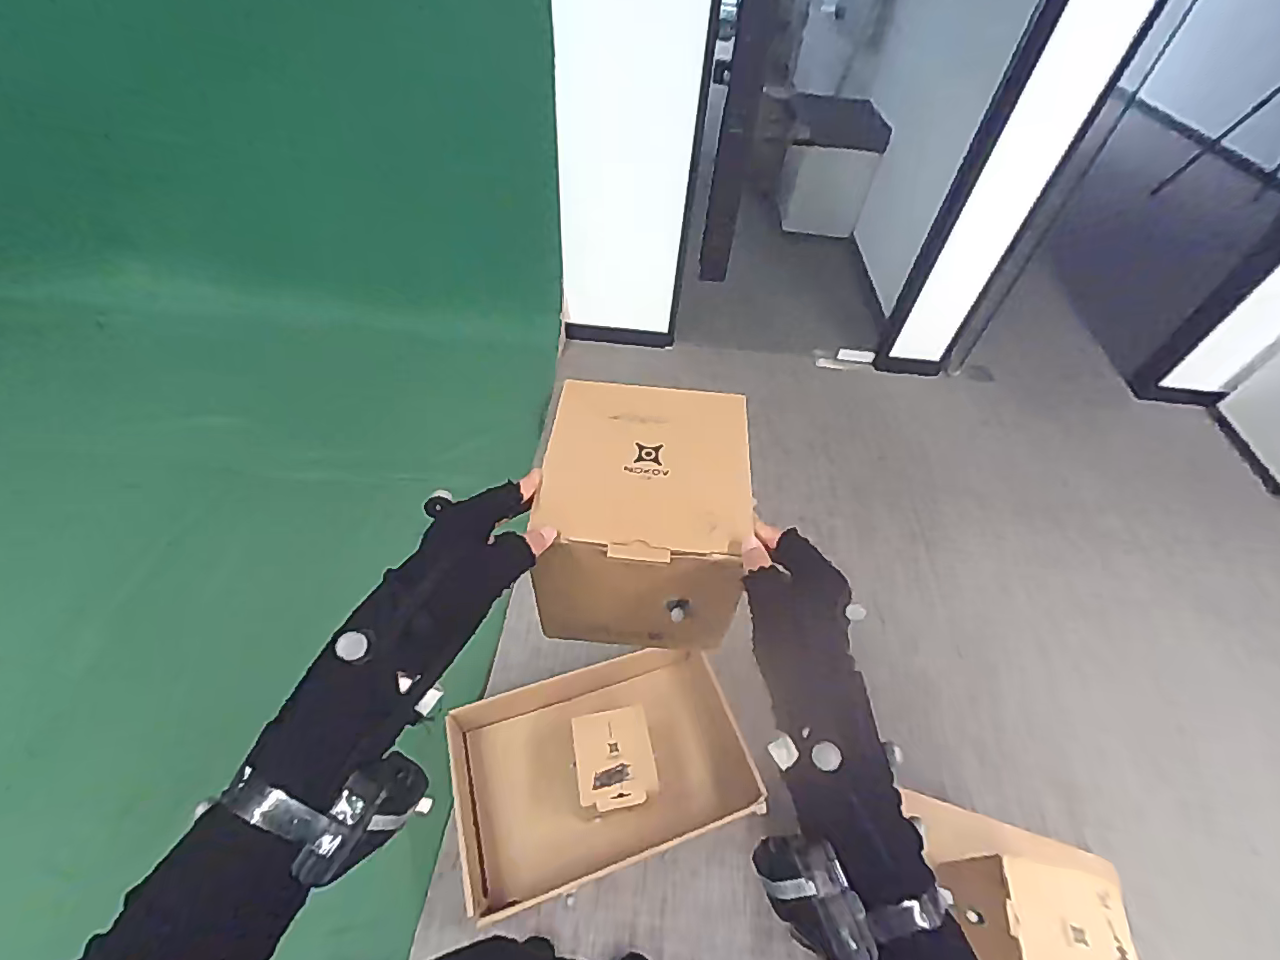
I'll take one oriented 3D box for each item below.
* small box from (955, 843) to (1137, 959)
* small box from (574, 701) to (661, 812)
[{"bbox_3d":[0.630,0.704,0.860,0.179,0.176,0.168,11,51,5],"label":"small box"},{"bbox_3d":[-0.054,0.625,1.212,0.168,0.176,0.179,-7,49,-10],"label":"small box"}]
